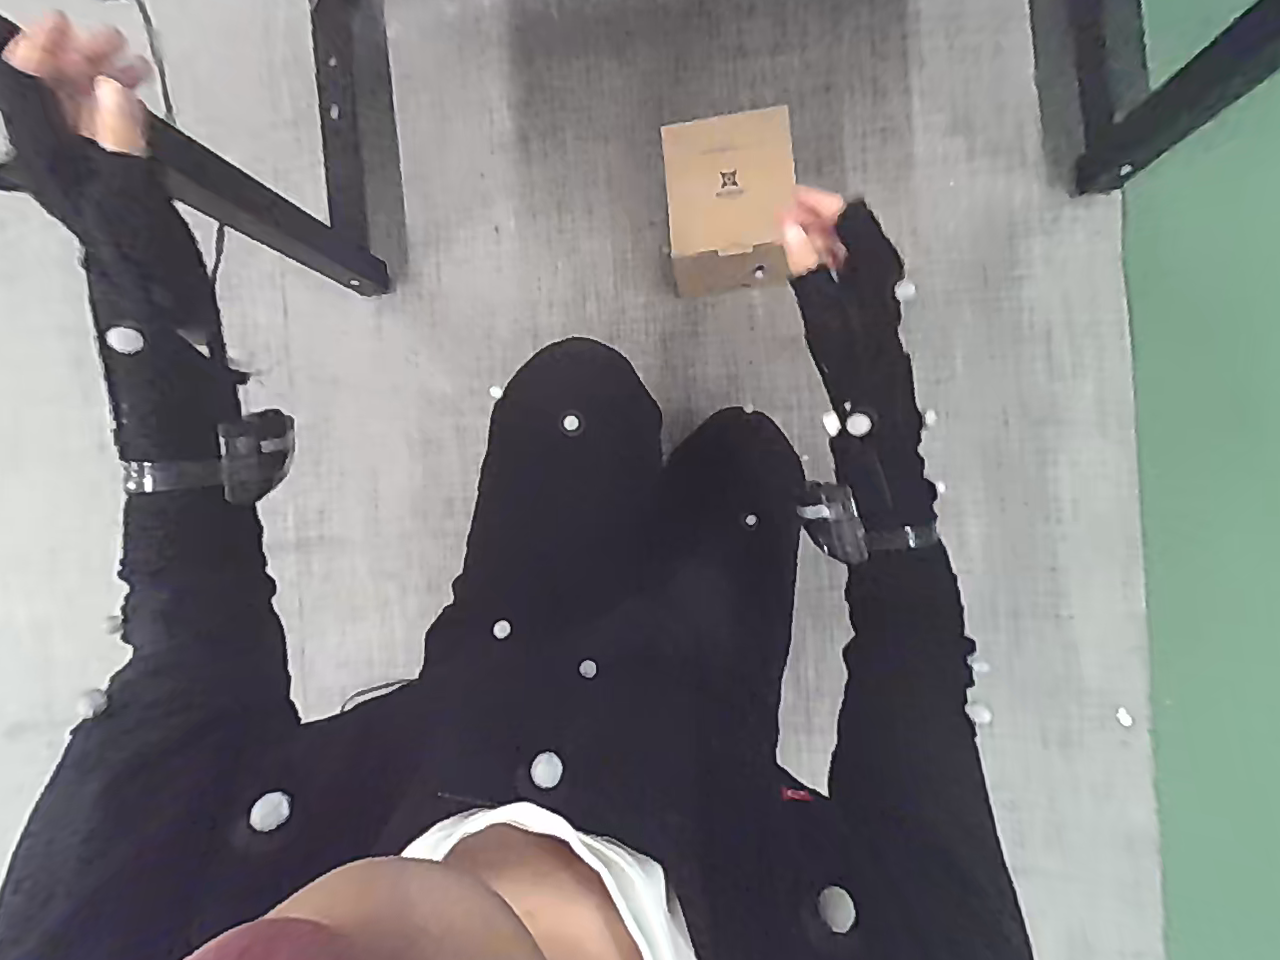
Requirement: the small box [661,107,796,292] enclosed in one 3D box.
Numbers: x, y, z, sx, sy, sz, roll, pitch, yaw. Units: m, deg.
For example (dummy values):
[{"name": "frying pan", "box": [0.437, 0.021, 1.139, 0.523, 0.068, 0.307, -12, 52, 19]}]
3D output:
[{"name": "small box", "box": [0.125, -0.385, 0.779, 0.168, 0.176, 0.179, -5, 88, 7]}]
